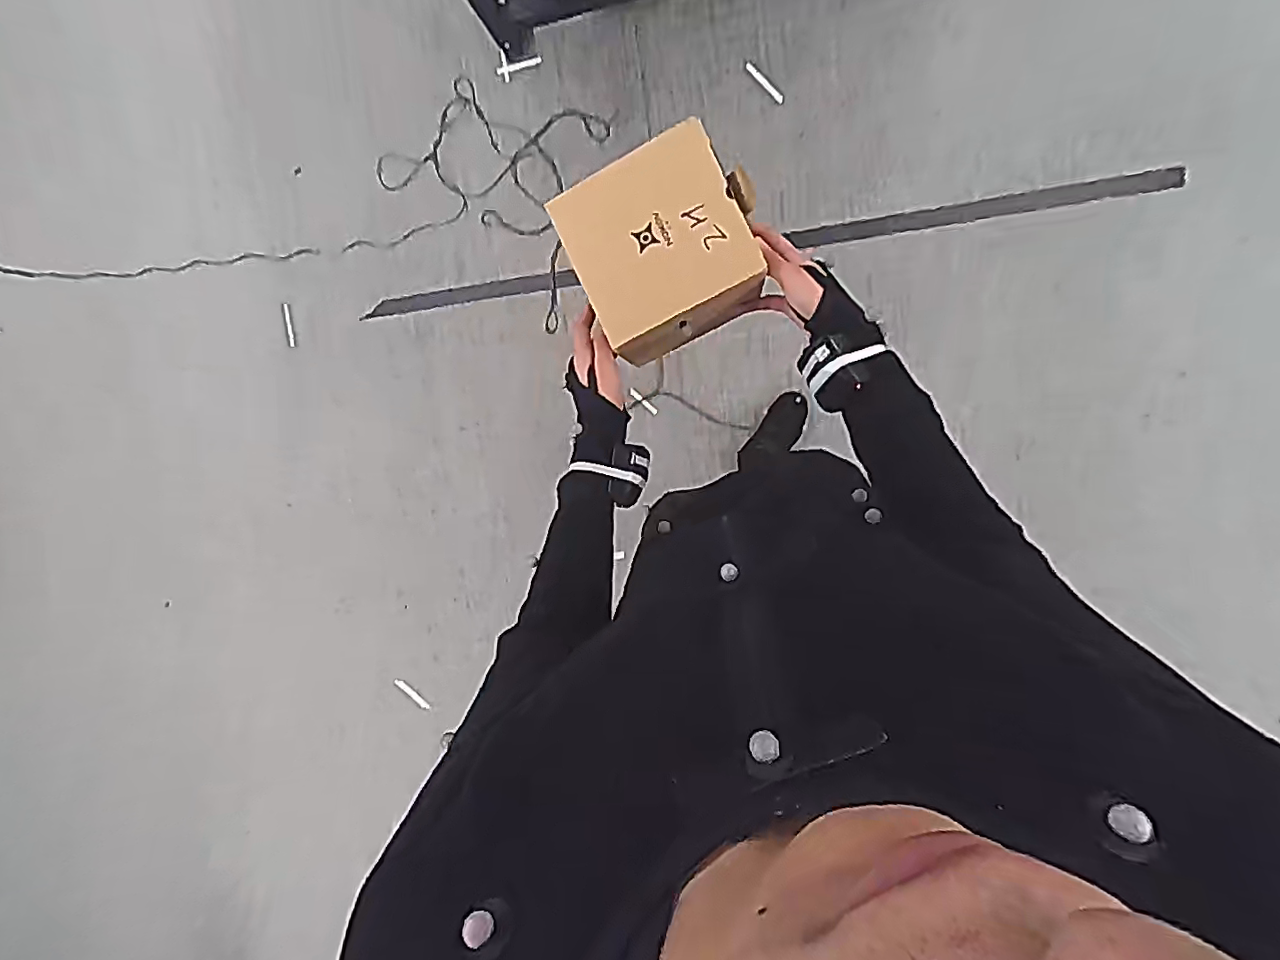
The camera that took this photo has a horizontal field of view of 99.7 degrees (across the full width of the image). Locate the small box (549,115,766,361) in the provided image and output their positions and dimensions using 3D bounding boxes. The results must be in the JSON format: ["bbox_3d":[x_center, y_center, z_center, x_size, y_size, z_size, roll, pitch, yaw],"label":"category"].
[{"bbox_3d":[0.027,-0.252,0.616,0.179,0.176,0.168,-25,91,9],"label":"small box"}]
